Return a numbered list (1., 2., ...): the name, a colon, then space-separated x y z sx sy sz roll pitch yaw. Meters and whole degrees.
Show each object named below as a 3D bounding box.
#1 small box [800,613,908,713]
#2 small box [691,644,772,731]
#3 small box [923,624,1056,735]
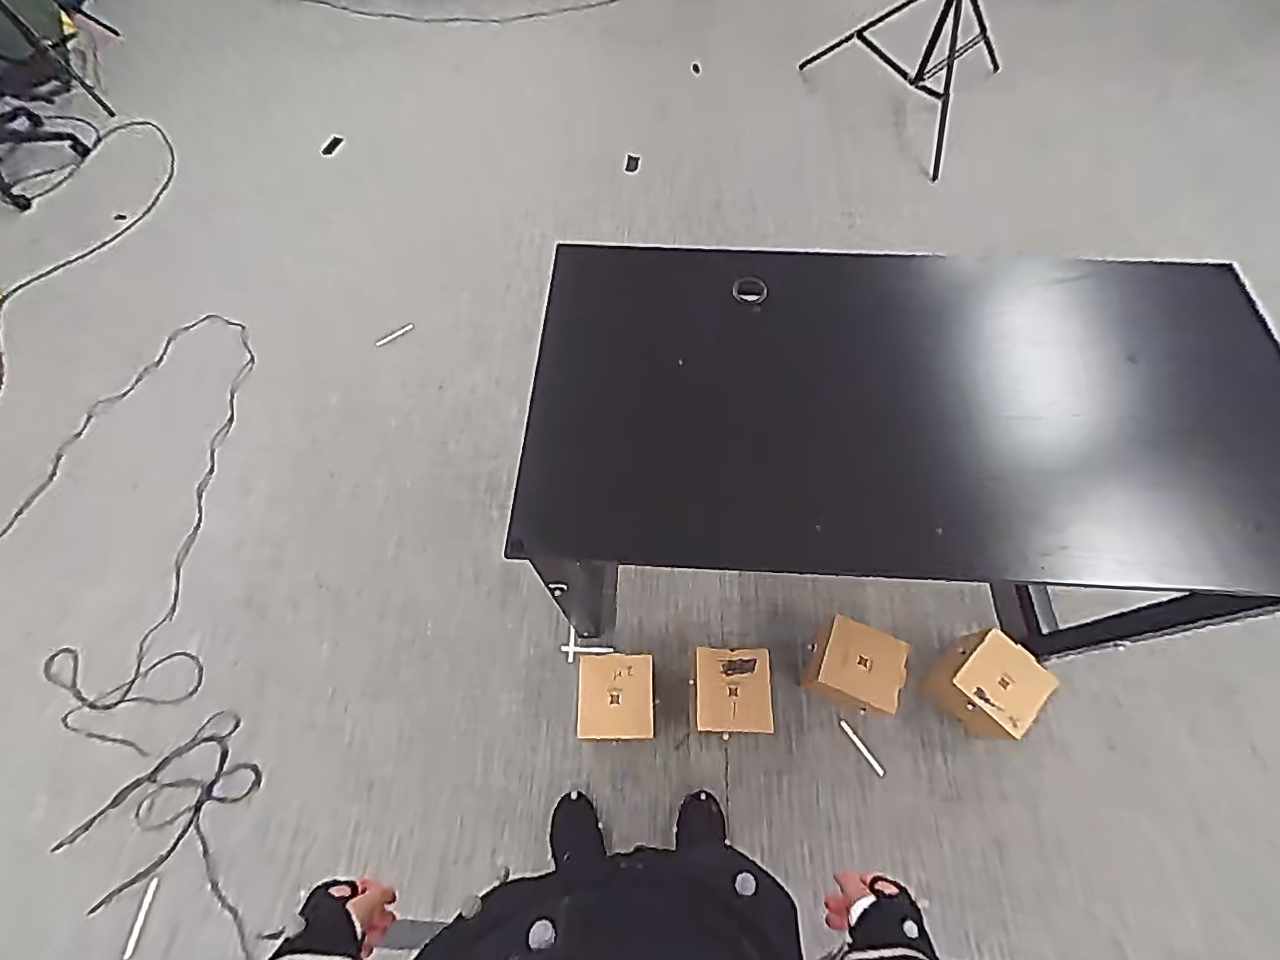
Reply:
1. small box: 0.505 0.440 1.290 0.179 0.176 0.168 21 66 12
2. small box: 0.208 0.490 1.271 0.168 0.176 0.179 1 66 2
3. small box: 0.806 0.470 1.268 0.179 0.176 0.168 -41 70 -17
